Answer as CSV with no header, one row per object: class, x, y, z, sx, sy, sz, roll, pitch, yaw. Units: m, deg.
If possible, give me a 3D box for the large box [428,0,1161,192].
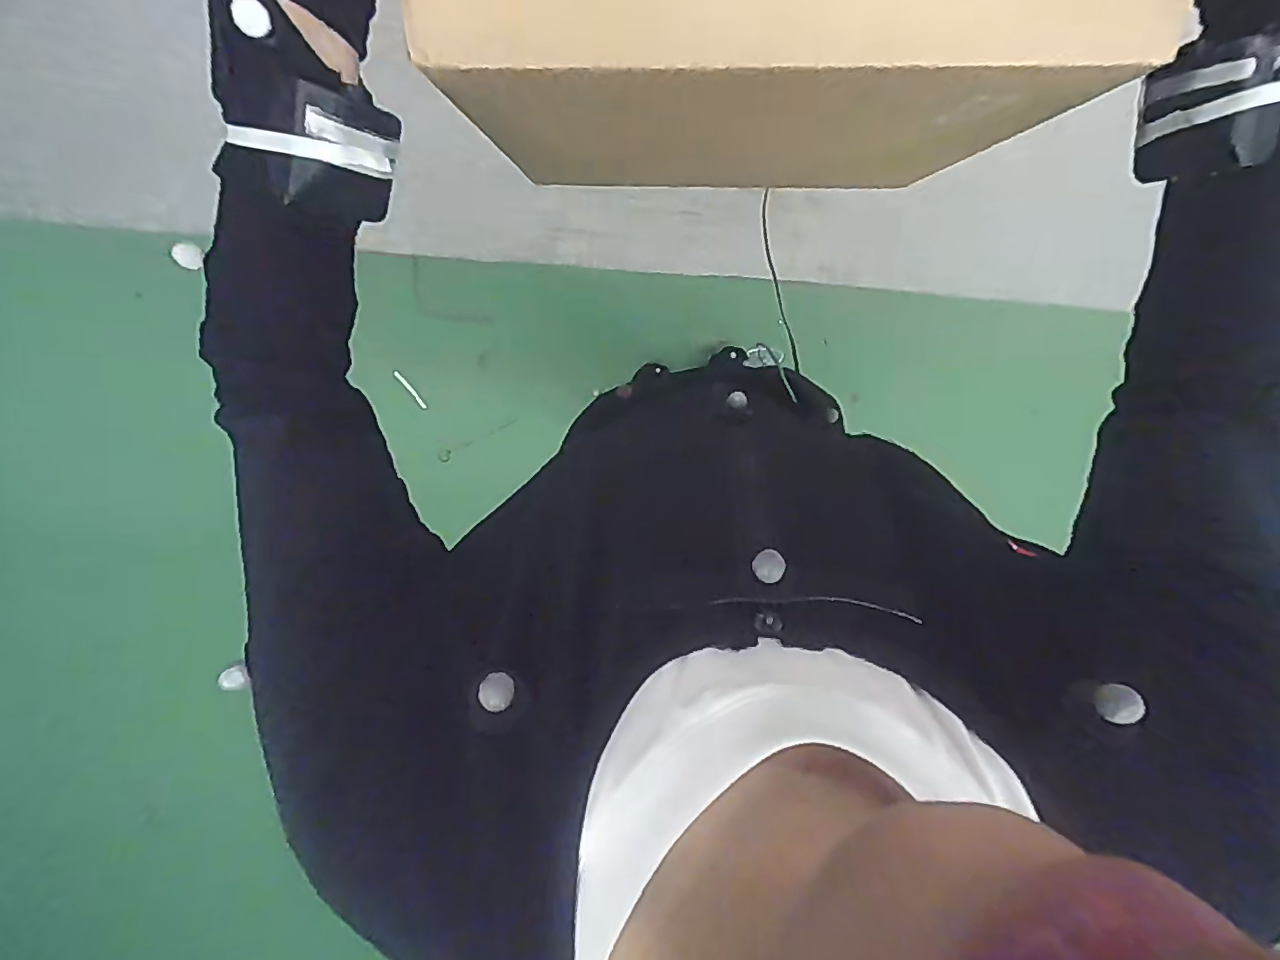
large box,0.082,-0.418,0.399,0.408,0.320,0.320,1,108,1
